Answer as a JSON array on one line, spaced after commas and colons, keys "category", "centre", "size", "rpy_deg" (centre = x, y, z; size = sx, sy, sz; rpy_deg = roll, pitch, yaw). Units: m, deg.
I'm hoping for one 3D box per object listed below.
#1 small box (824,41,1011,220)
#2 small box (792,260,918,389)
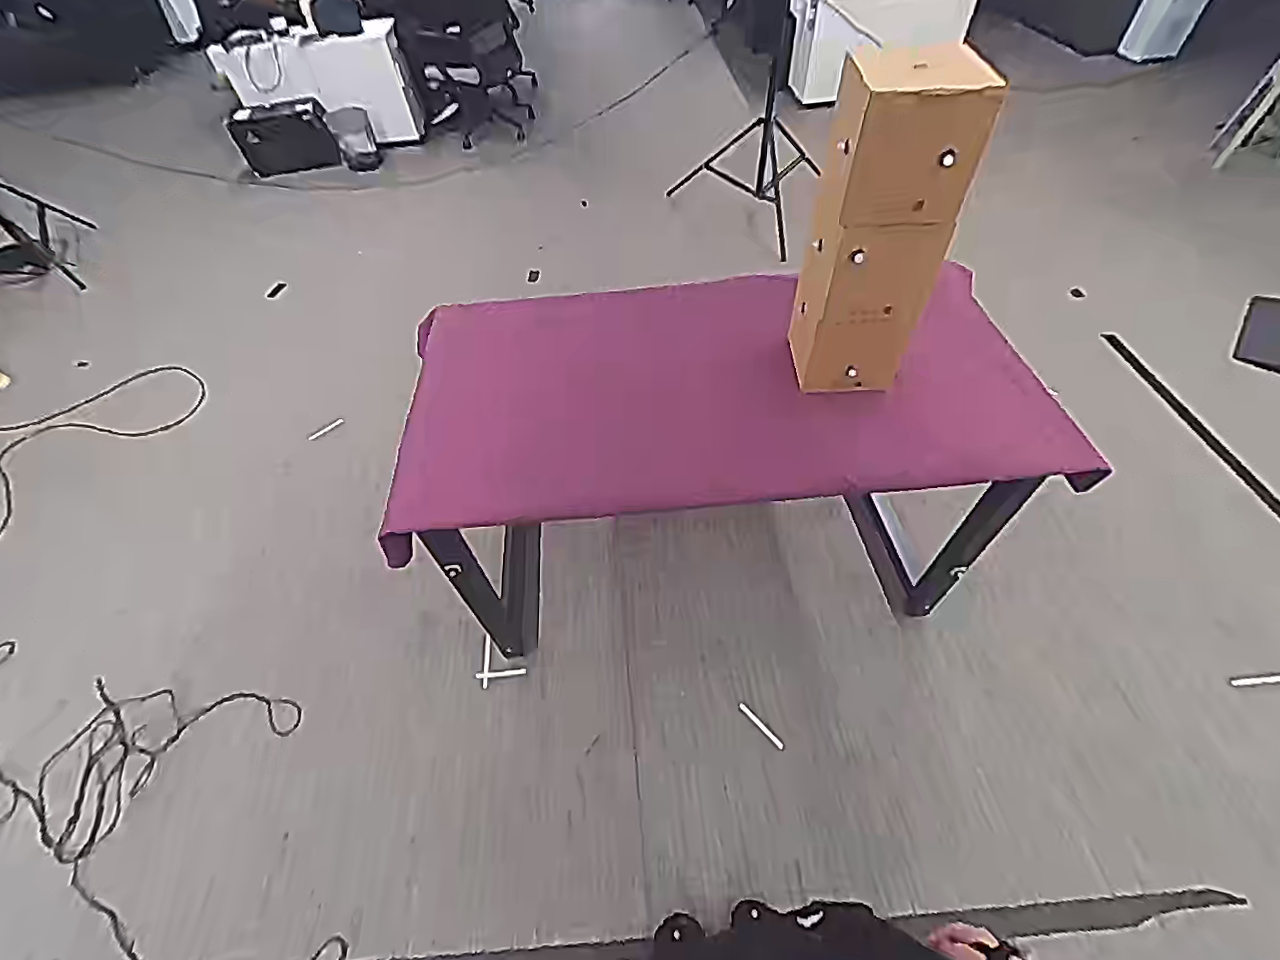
[{"category": "small box", "centre": [0.369, -0.484, 0.759], "size": [0.168, 0.176, 0.179], "rpy_deg": [1, 52, 4]}, {"category": "small box", "centre": [0.392, -0.291, 1.022], "size": [0.168, 0.176, 0.179], "rpy_deg": [-2, 53, 4]}]
